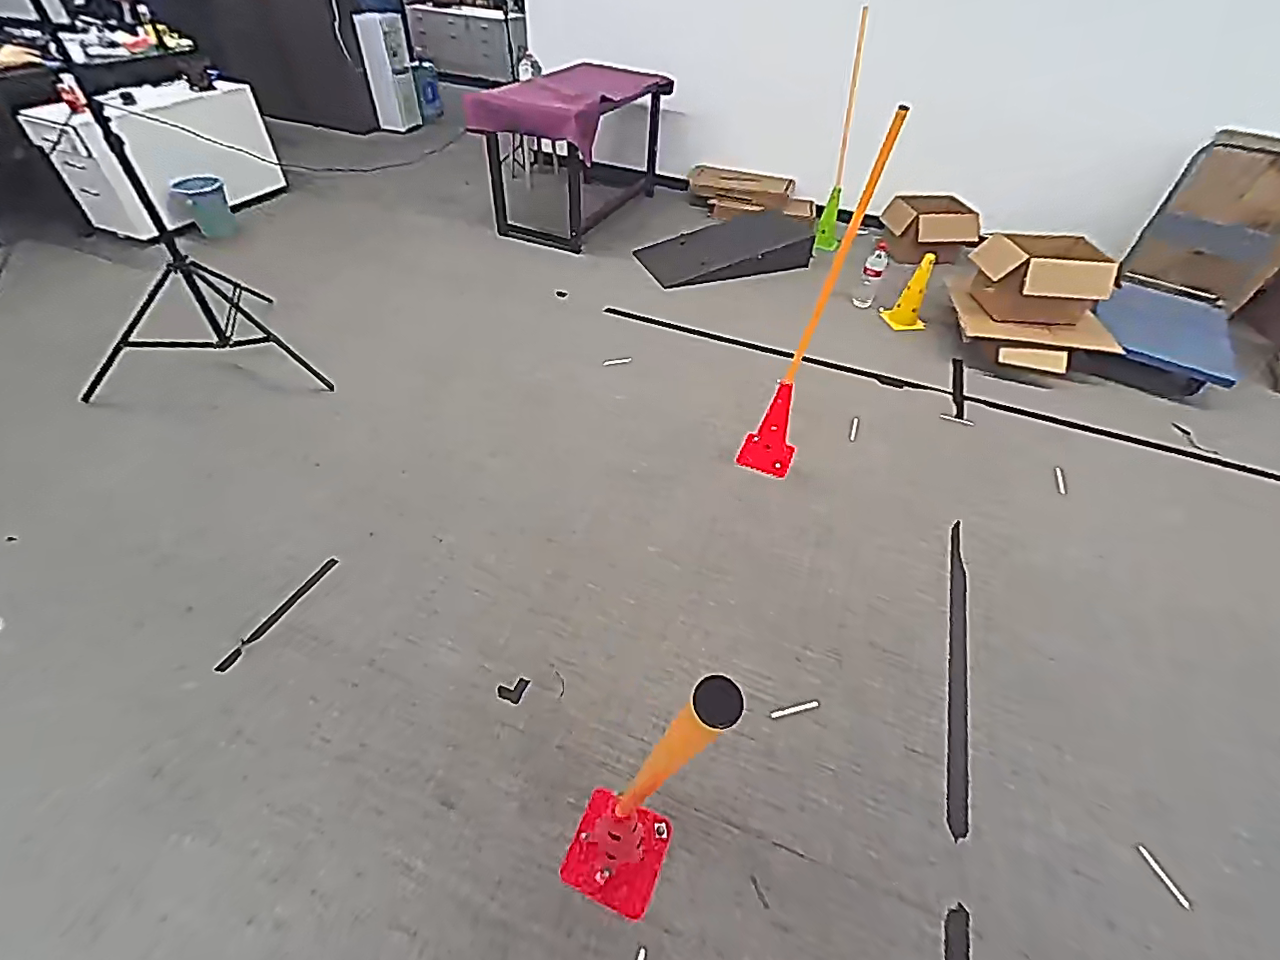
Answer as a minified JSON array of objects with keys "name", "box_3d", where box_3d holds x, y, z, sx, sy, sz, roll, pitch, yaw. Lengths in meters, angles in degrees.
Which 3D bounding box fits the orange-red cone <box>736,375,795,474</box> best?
[{"name":"orange-red cone","box_3d":[0.501,-0.231,1.989,0.198,0.360,0.199,21,48,15]}]
